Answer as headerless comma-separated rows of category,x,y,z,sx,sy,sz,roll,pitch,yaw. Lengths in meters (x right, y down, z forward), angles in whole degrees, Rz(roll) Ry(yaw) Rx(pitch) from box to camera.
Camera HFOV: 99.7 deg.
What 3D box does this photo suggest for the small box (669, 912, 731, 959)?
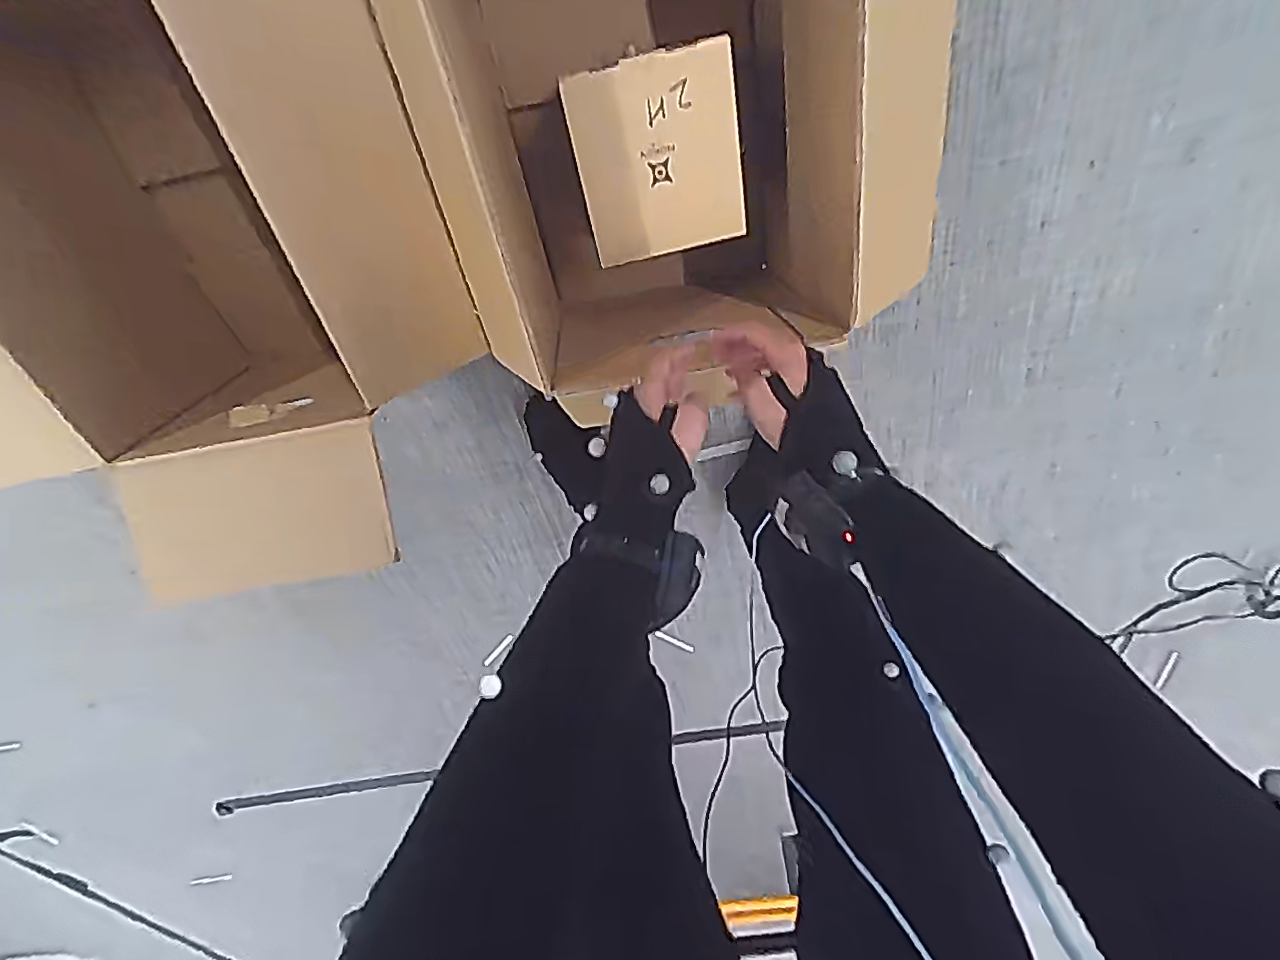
small box,0.198,1.526,1.746,0.179,0.176,0.168,-12,123,9
